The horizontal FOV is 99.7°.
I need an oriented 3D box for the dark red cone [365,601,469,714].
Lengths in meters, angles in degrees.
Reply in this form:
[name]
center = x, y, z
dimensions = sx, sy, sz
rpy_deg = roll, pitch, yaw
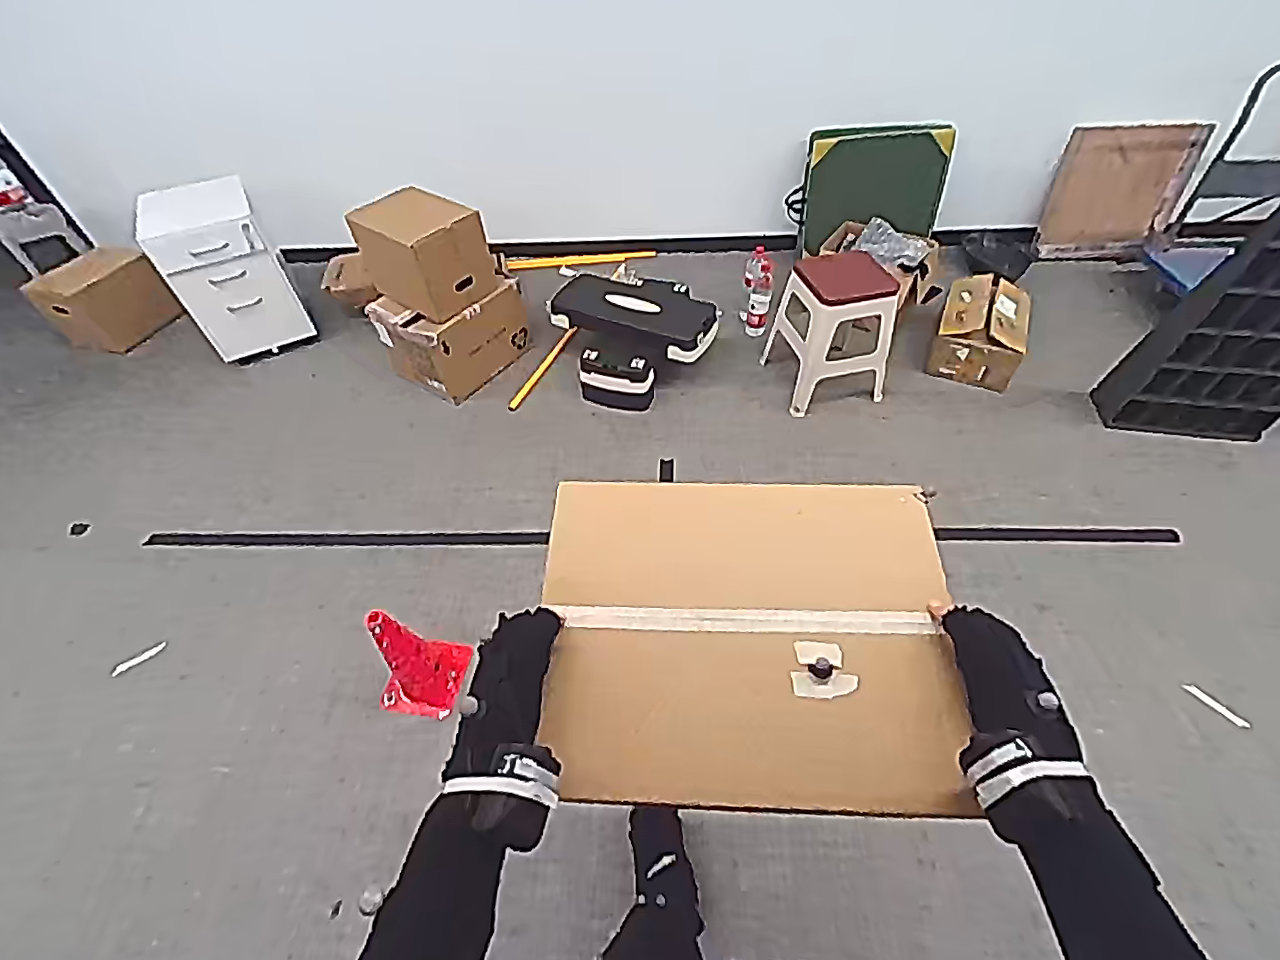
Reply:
[dark red cone]
center = -0.585, 0.414, 1.335
dimensions = 0.201, 0.394, 0.202
rpy_deg = 5, 50, 6

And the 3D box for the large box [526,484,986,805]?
[large box]
center = 0.104, 0.214, 0.666
dimensions = 0.408, 0.320, 0.320
rpy_deg = 1, 59, 3
